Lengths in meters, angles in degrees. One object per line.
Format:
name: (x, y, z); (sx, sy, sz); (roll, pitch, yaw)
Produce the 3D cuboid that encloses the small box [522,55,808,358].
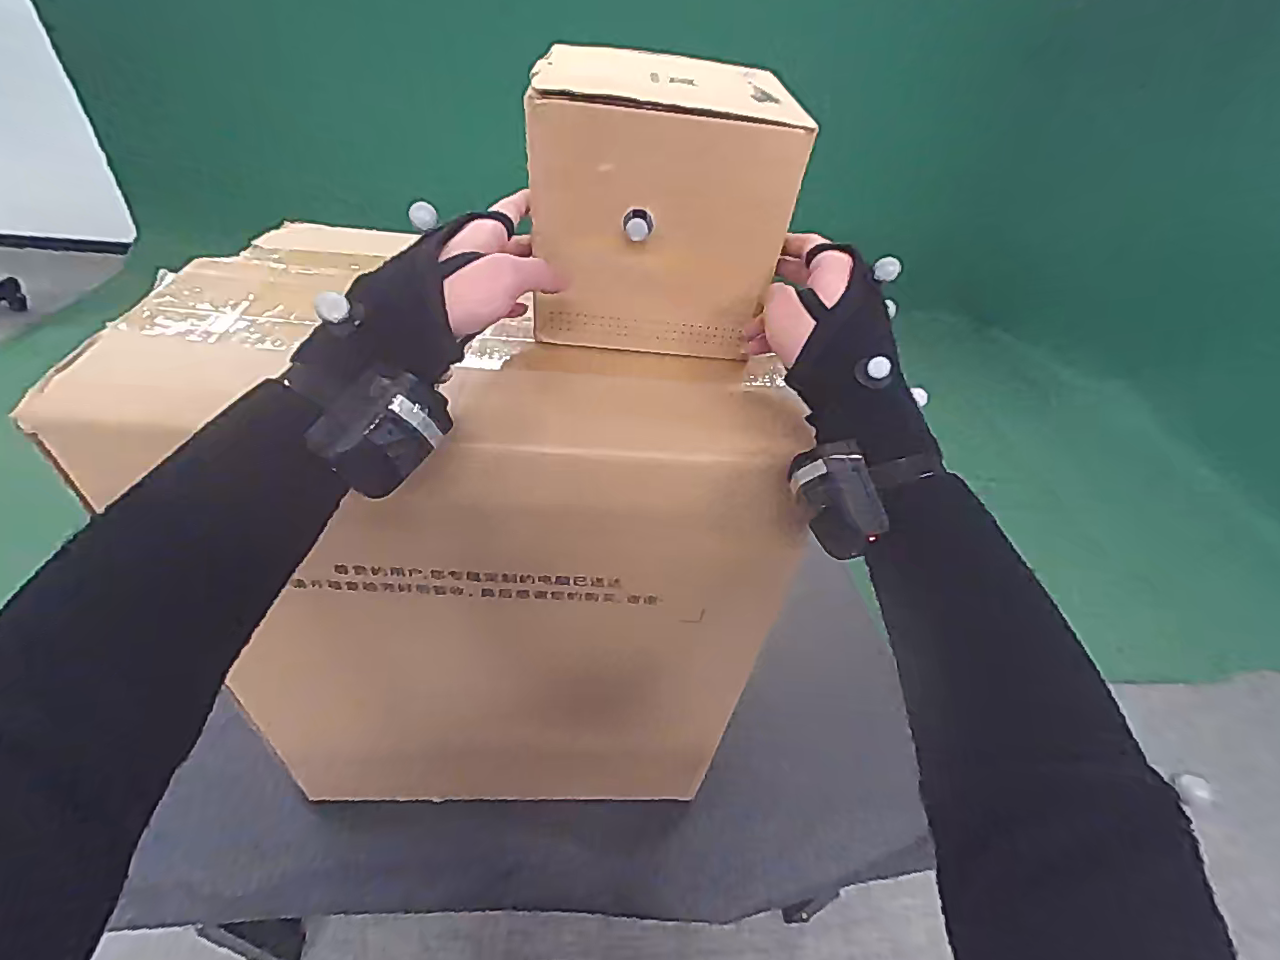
small box: (0.010, -0.214, 0.433); (0.179, 0.176, 0.168); (3, 47, -4)
